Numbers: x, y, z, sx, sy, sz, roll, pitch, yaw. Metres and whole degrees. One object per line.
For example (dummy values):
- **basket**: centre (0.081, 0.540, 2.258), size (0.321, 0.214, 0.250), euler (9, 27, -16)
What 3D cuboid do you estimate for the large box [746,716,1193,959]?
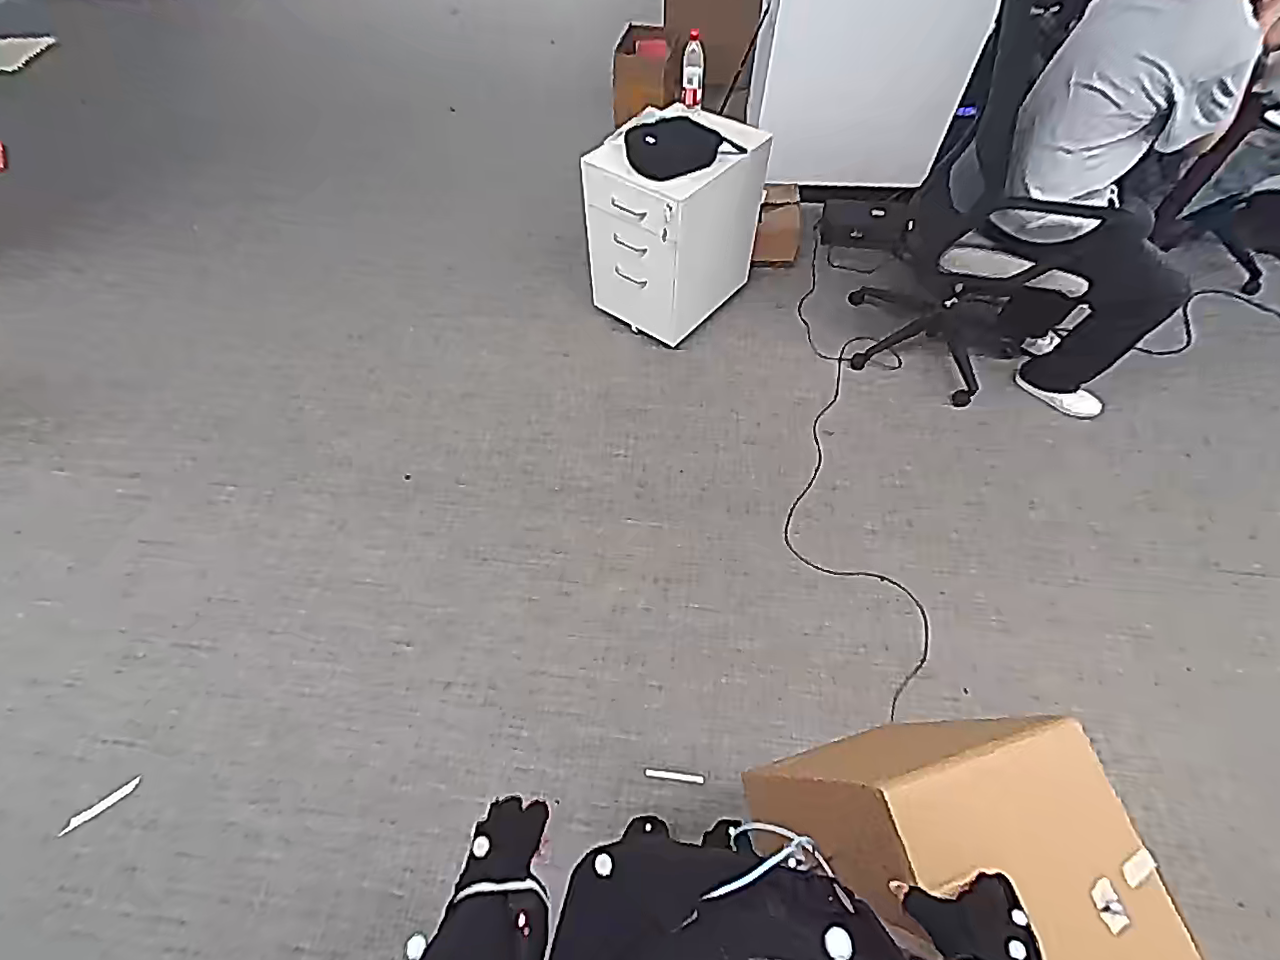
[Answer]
- **large box**: centre (0.408, 0.551, 0.770), size (0.320, 0.408, 0.320), euler (-8, 66, -17)
